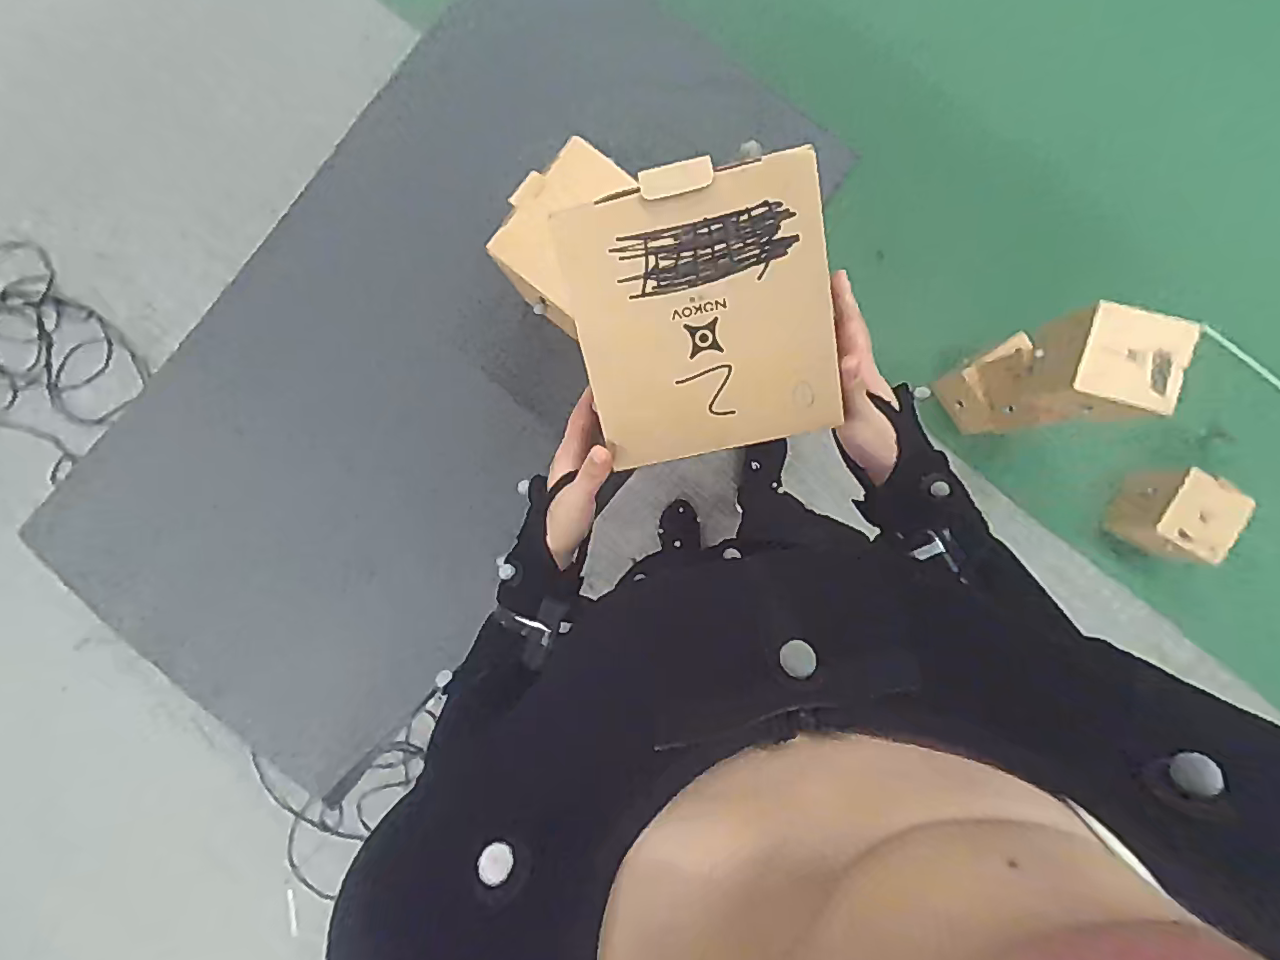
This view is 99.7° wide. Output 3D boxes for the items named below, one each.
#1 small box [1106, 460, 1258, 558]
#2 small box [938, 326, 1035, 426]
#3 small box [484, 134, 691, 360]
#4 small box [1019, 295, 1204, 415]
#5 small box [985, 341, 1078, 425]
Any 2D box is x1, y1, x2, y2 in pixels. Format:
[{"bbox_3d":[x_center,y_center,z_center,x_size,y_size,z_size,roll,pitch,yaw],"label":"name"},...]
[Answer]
[{"bbox_3d":[1.314,0.067,1.327,0.168,0.176,0.179,30,92,2],"label":"small box"},{"bbox_3d":[0.881,-0.250,1.349,0.179,0.176,0.168,-34,89,3],"label":"small box"},{"bbox_3d":[-0.053,-0.269,0.676,0.179,0.176,0.168,39,93,4],"label":"small box"},{"bbox_3d":[0.875,-0.225,1.022,0.179,0.176,0.168,16,93,4],"label":"small box"},{"bbox_3d":[0.892,-0.222,1.186,0.179,0.176,0.168,-14,91,3],"label":"small box"}]
